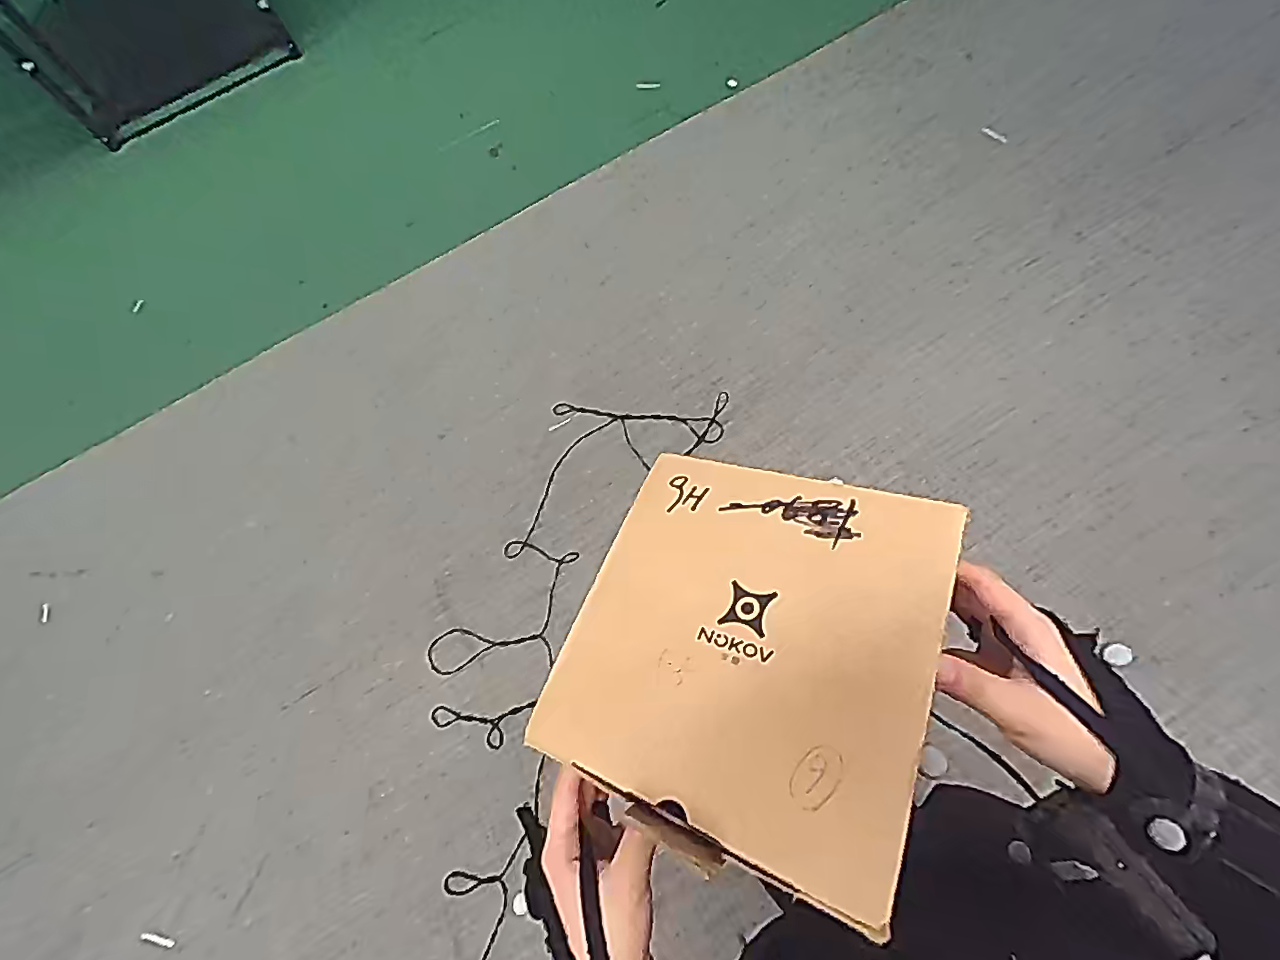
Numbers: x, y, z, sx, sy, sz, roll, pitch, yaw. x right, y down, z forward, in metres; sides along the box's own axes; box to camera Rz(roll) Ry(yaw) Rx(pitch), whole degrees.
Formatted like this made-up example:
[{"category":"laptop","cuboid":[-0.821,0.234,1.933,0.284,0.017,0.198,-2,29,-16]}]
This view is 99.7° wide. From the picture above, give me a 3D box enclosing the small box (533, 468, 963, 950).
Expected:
[{"category":"small box","cuboid":[0.076,0.120,0.321,0.168,0.176,0.179,12,63,29]}]
